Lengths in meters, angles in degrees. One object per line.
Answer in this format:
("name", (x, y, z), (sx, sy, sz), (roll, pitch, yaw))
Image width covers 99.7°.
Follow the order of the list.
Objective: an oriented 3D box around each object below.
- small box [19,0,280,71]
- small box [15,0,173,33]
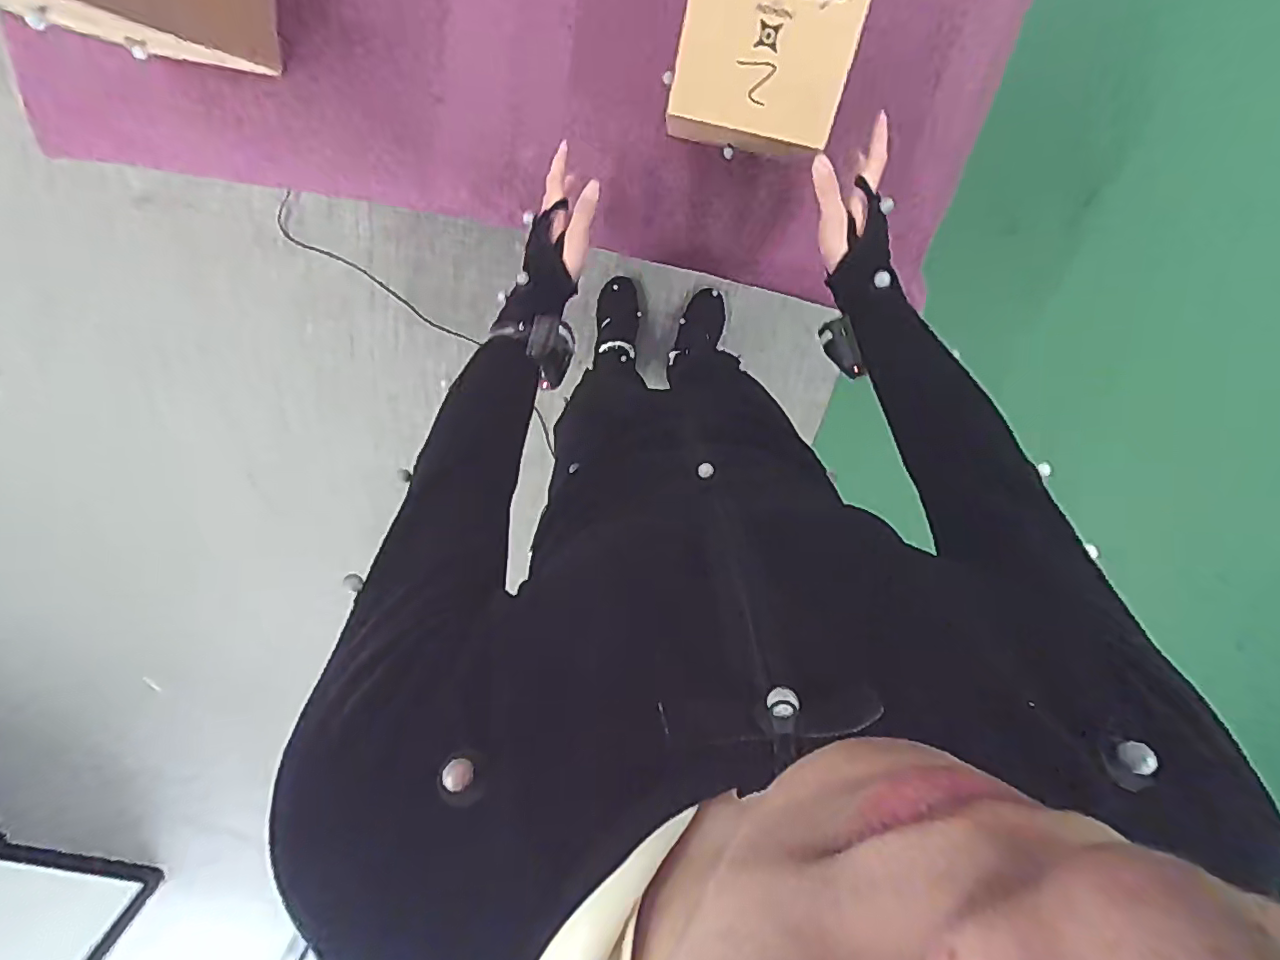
("small box", (-0.516, -0.565, 0.571), (0.168, 0.176, 0.179), (10, 116, -1))
("small box", (-0.525, -0.495, 0.423), (0.168, 0.176, 0.179), (11, 117, -1))
